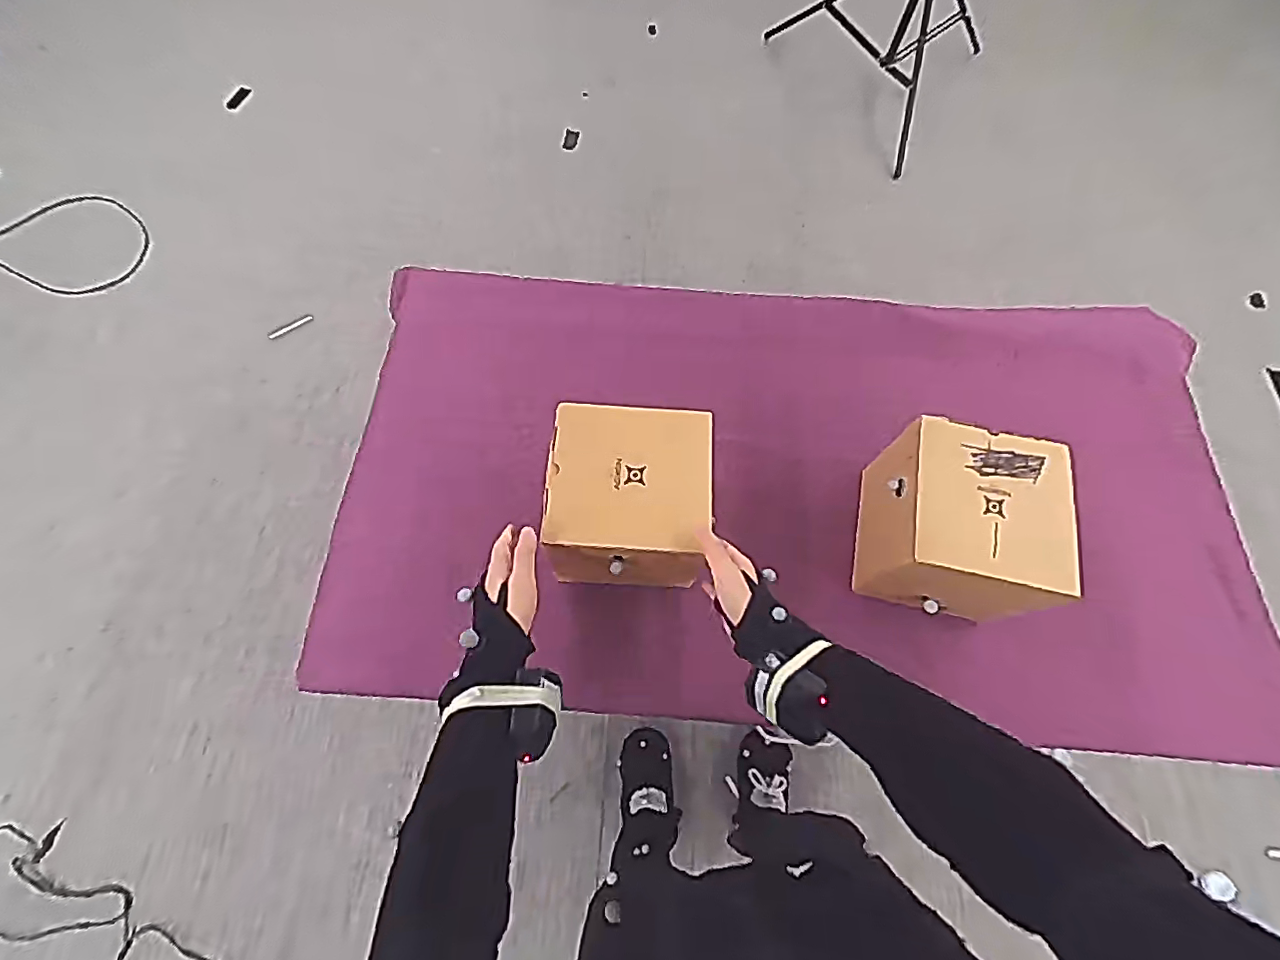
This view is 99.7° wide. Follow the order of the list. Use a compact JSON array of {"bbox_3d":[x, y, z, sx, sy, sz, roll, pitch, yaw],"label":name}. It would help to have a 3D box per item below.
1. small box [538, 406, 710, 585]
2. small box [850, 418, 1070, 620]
[{"bbox_3d":[-0.015,0.028,0.652,0.179,0.176,0.168,3,67,0],"label":"small box"},{"bbox_3d":[0.368,0.055,0.650,0.168,0.176,0.179,13,68,4],"label":"small box"}]
